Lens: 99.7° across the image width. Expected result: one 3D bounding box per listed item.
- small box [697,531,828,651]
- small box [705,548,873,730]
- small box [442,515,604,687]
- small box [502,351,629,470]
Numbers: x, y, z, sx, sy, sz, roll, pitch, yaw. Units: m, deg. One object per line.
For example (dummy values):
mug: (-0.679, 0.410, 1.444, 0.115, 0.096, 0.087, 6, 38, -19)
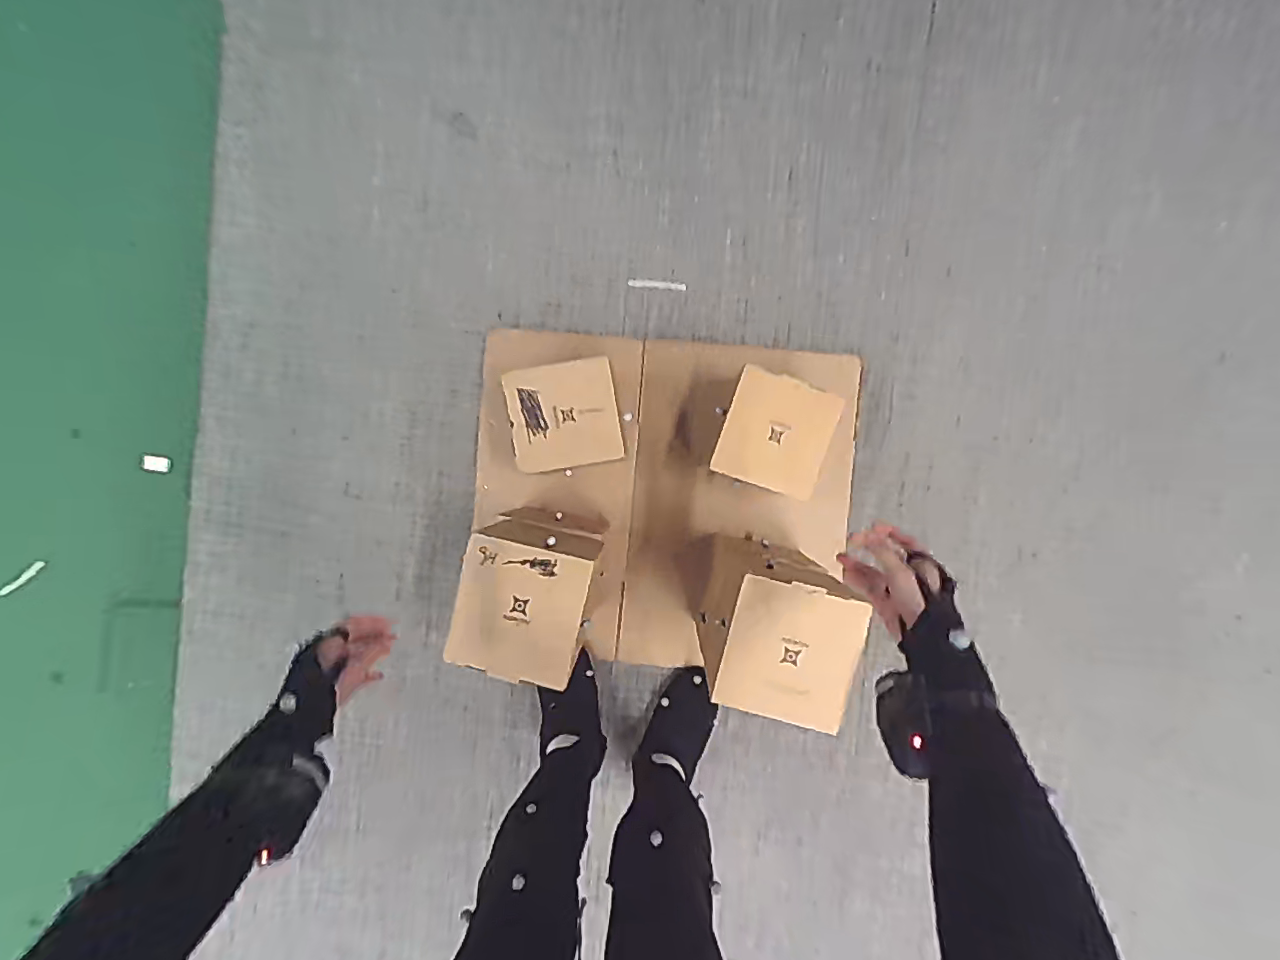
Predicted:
small box: (0.195, 0.196, 0.915, 0.168, 0.176, 0.179, 13, 92, 1)
small box: (0.191, 0.205, 0.752, 0.168, 0.176, 0.179, 15, 93, 2)
small box: (-0.153, 0.158, 0.767, 0.168, 0.176, 0.179, 14, 92, 1)
small box: (-0.118, -0.110, 0.924, 0.179, 0.176, 0.168, -9, 91, 1)
